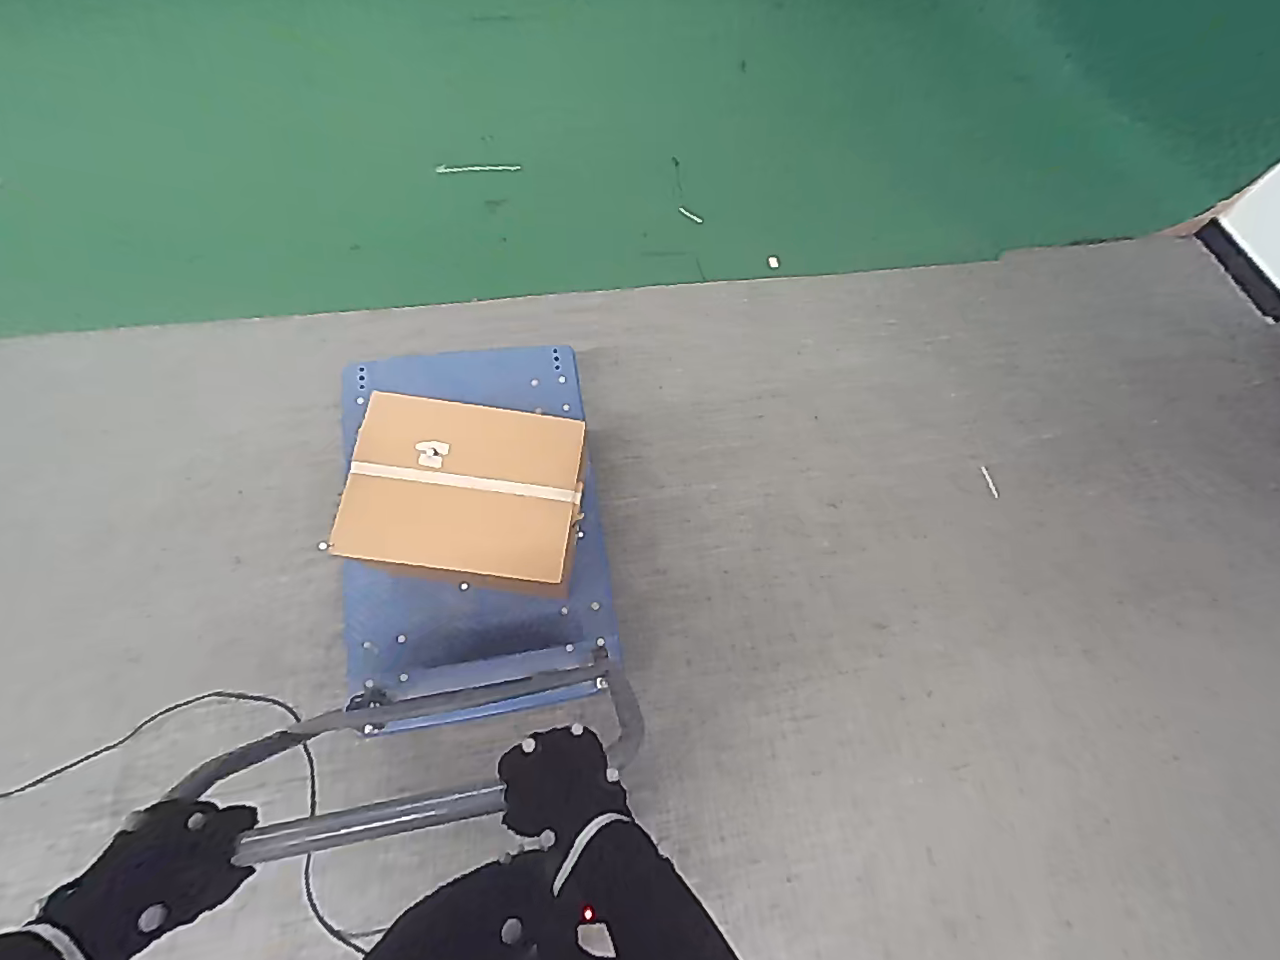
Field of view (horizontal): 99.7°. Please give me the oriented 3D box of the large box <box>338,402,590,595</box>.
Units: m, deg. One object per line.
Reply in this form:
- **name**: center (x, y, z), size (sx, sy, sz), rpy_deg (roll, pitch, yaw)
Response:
- **large box**: center (-0.320, 0.059, 1.122), size (0.408, 0.320, 0.320), rpy_deg (7, 72, -2)
